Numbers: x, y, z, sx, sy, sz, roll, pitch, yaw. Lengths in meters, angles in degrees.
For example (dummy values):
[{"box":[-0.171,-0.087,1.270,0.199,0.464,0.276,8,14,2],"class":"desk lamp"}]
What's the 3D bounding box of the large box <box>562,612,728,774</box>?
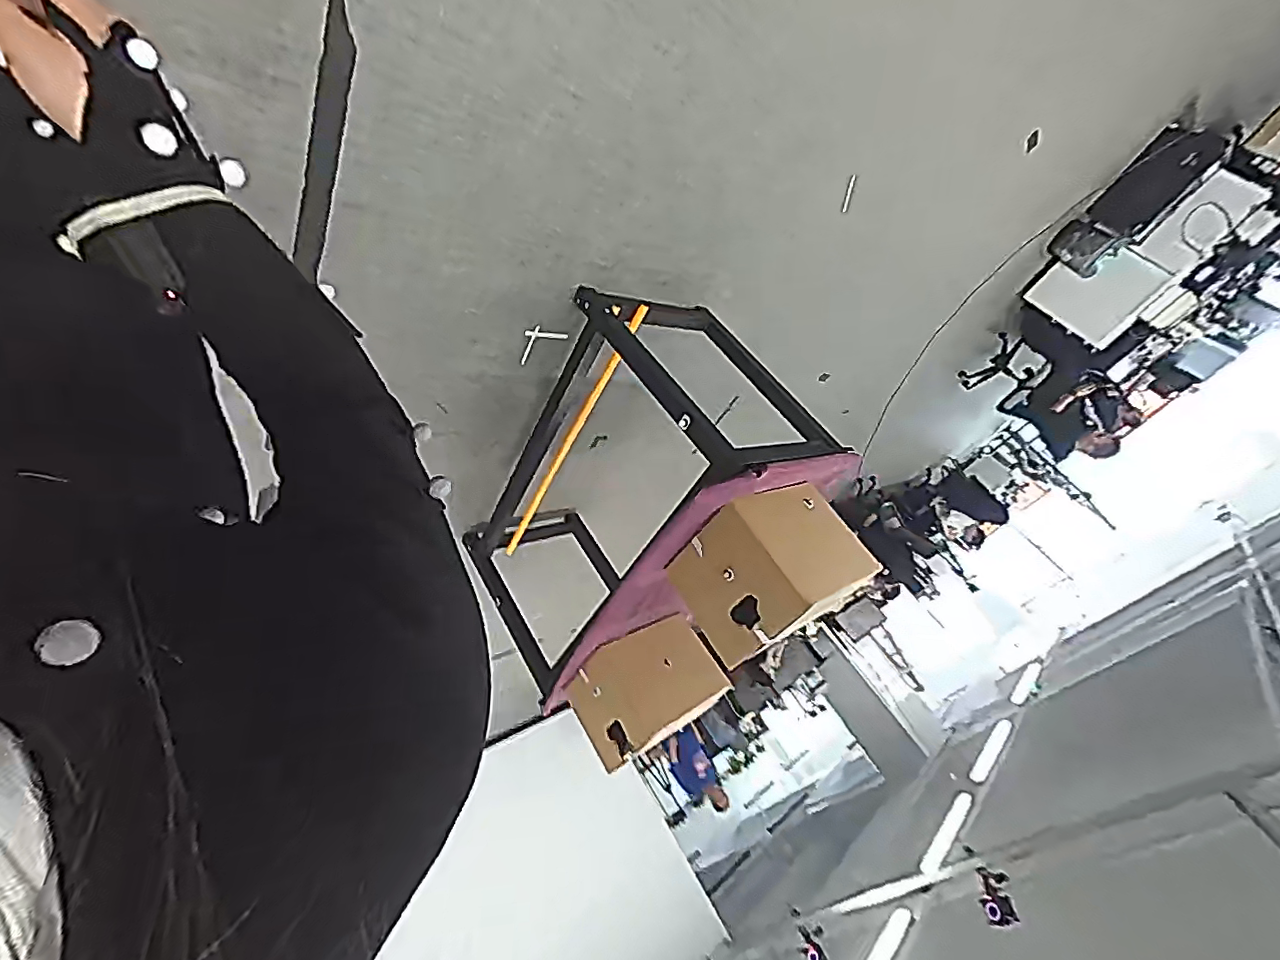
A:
[{"box":[0.012,0.708,1.847,0.408,0.320,0.320,-10,144,-46],"class":"large box"}]
